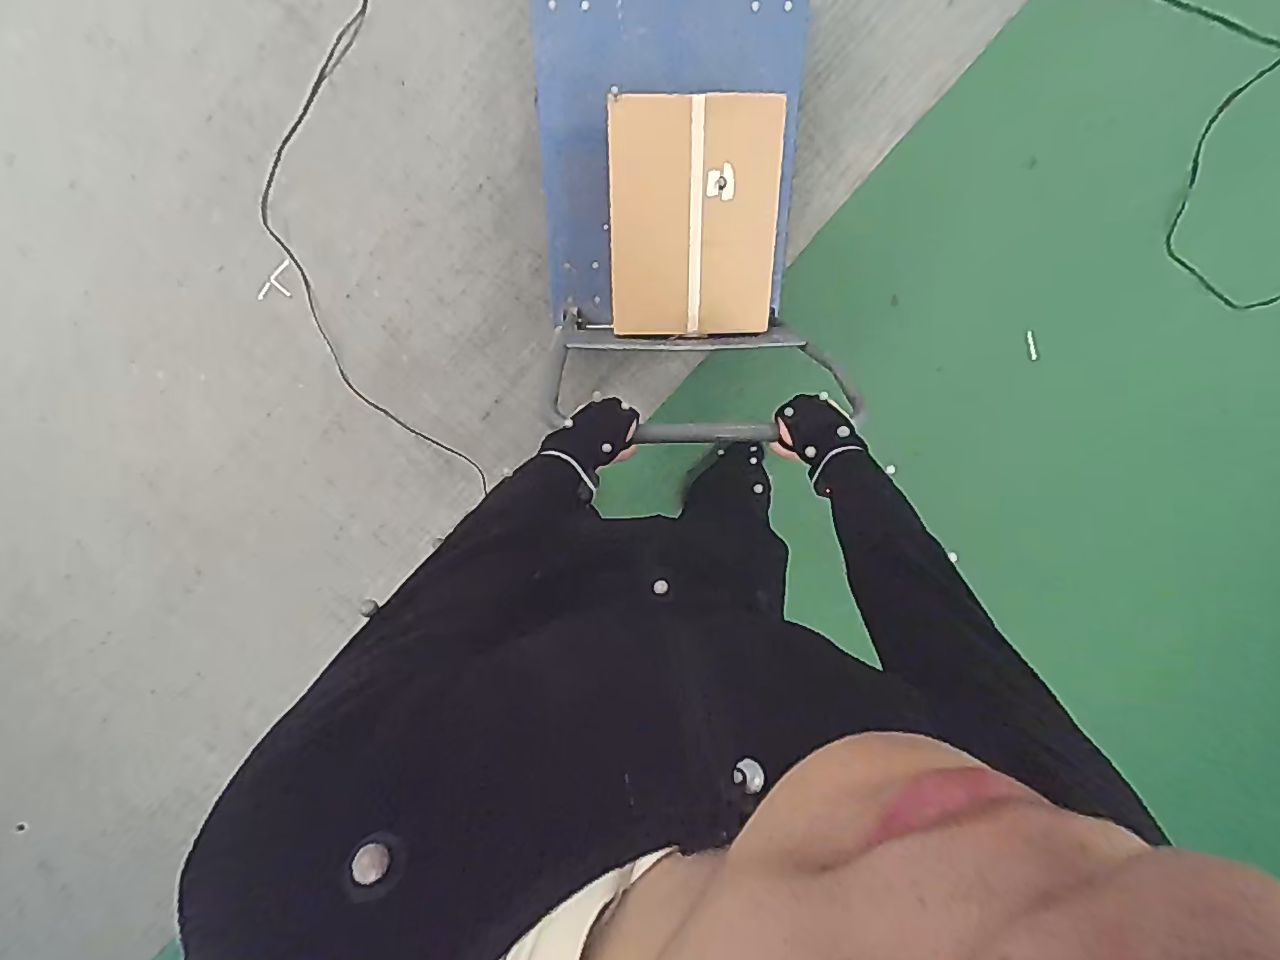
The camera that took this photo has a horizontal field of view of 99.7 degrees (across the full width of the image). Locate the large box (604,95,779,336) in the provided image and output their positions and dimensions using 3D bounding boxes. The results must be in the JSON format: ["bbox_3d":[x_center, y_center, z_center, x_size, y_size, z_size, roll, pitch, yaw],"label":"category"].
[{"bbox_3d":[0.093,-0.534,1.150,0.320,0.320,0.408,-2,112,-2],"label":"large box"}]
